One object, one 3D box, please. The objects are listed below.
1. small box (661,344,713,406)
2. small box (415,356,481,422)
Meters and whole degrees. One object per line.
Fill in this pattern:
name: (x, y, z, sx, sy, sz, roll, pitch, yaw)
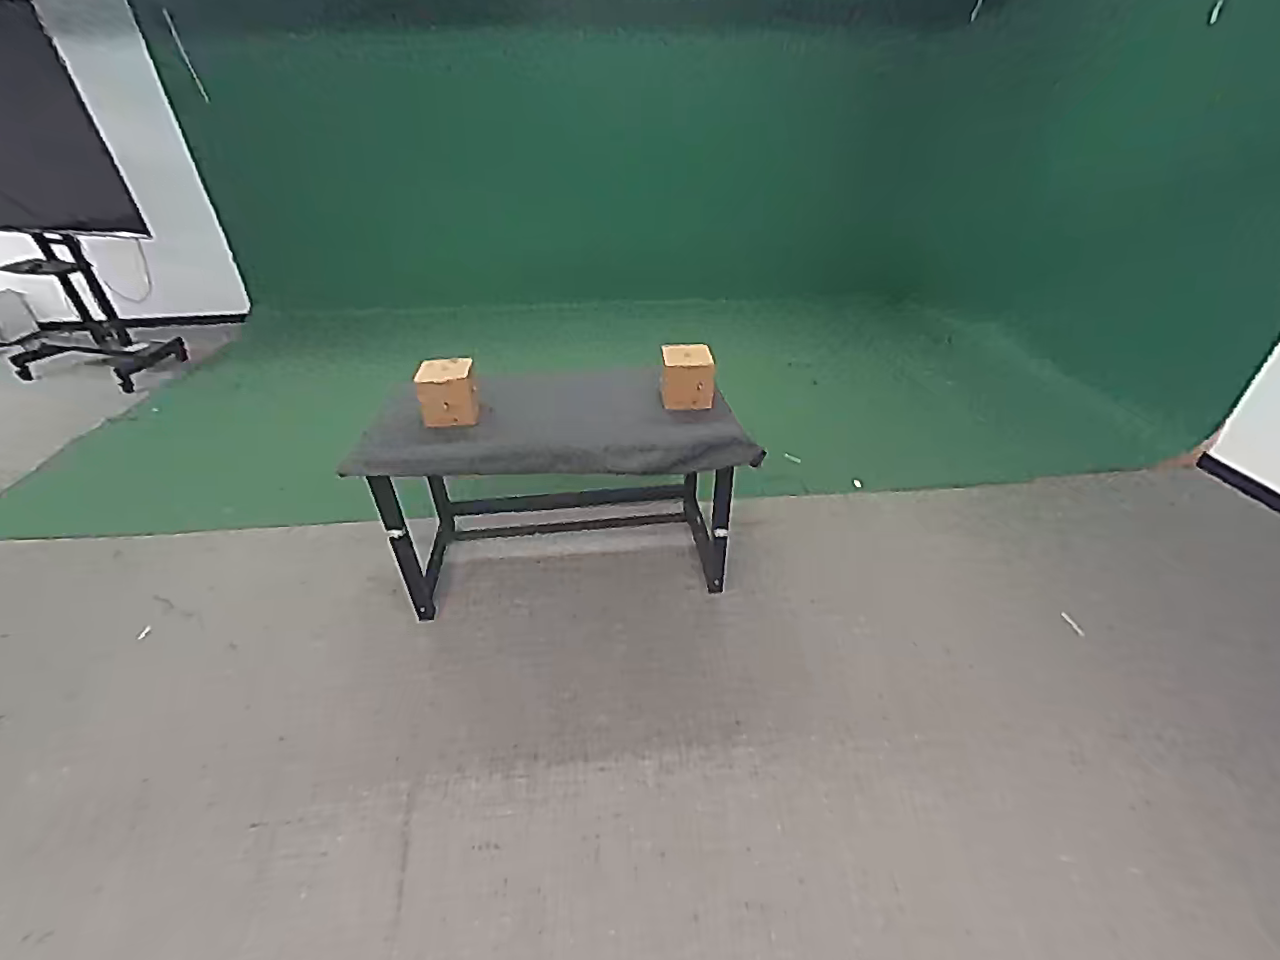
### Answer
small box: (0.161, -0.368, 1.903, 0.168, 0.176, 0.179, -2, 34, -3)
small box: (-0.640, -0.304, 1.824, 0.168, 0.176, 0.179, -4, 36, -6)
